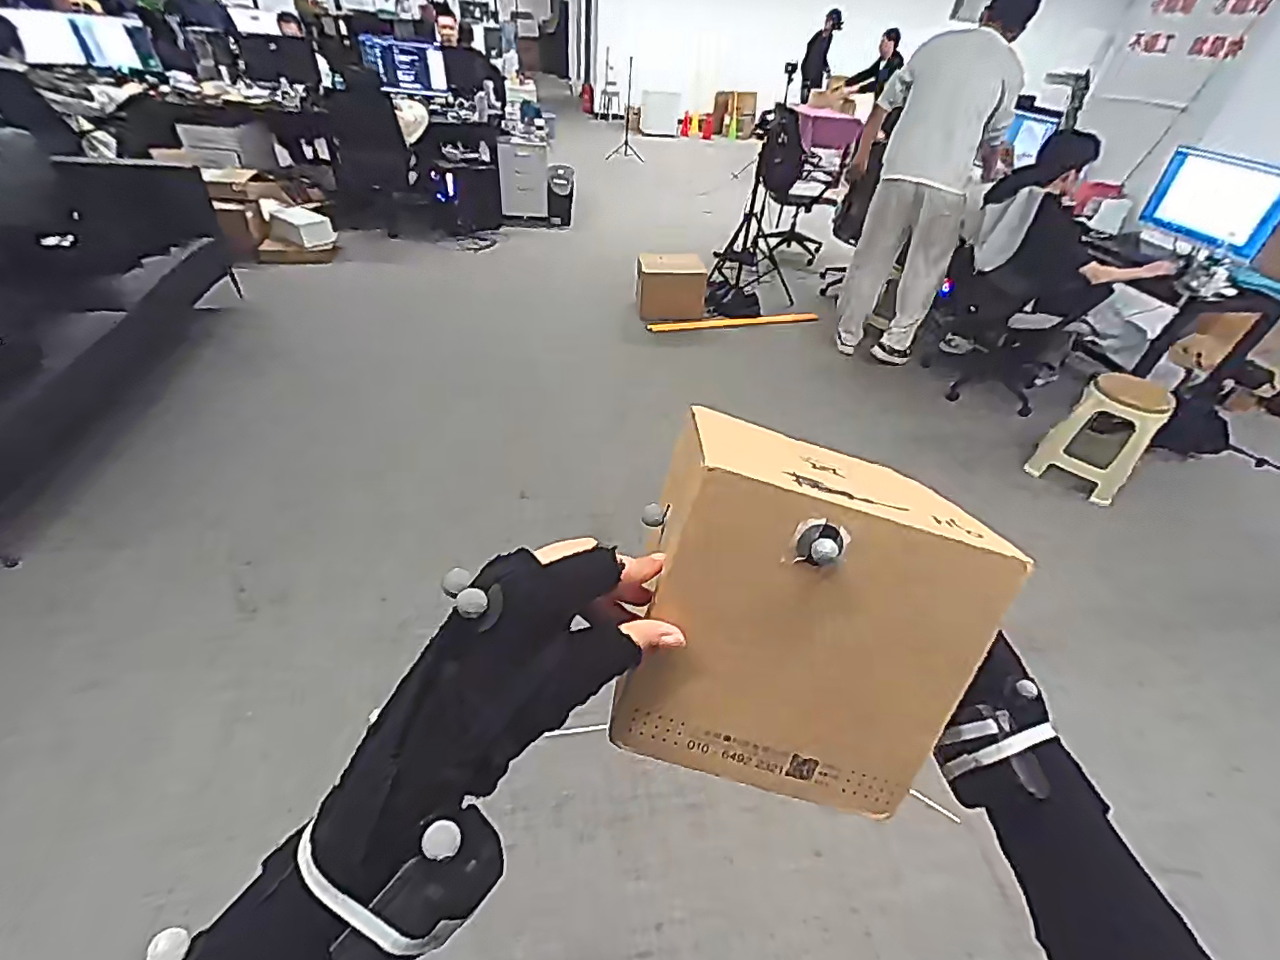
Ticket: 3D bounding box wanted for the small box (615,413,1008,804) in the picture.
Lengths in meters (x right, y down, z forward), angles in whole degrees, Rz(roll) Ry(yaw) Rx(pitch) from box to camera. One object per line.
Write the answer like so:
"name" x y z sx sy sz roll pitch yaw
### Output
"small box" 0.087 0.068 0.367 0.168 0.176 0.179 16 16 -2
